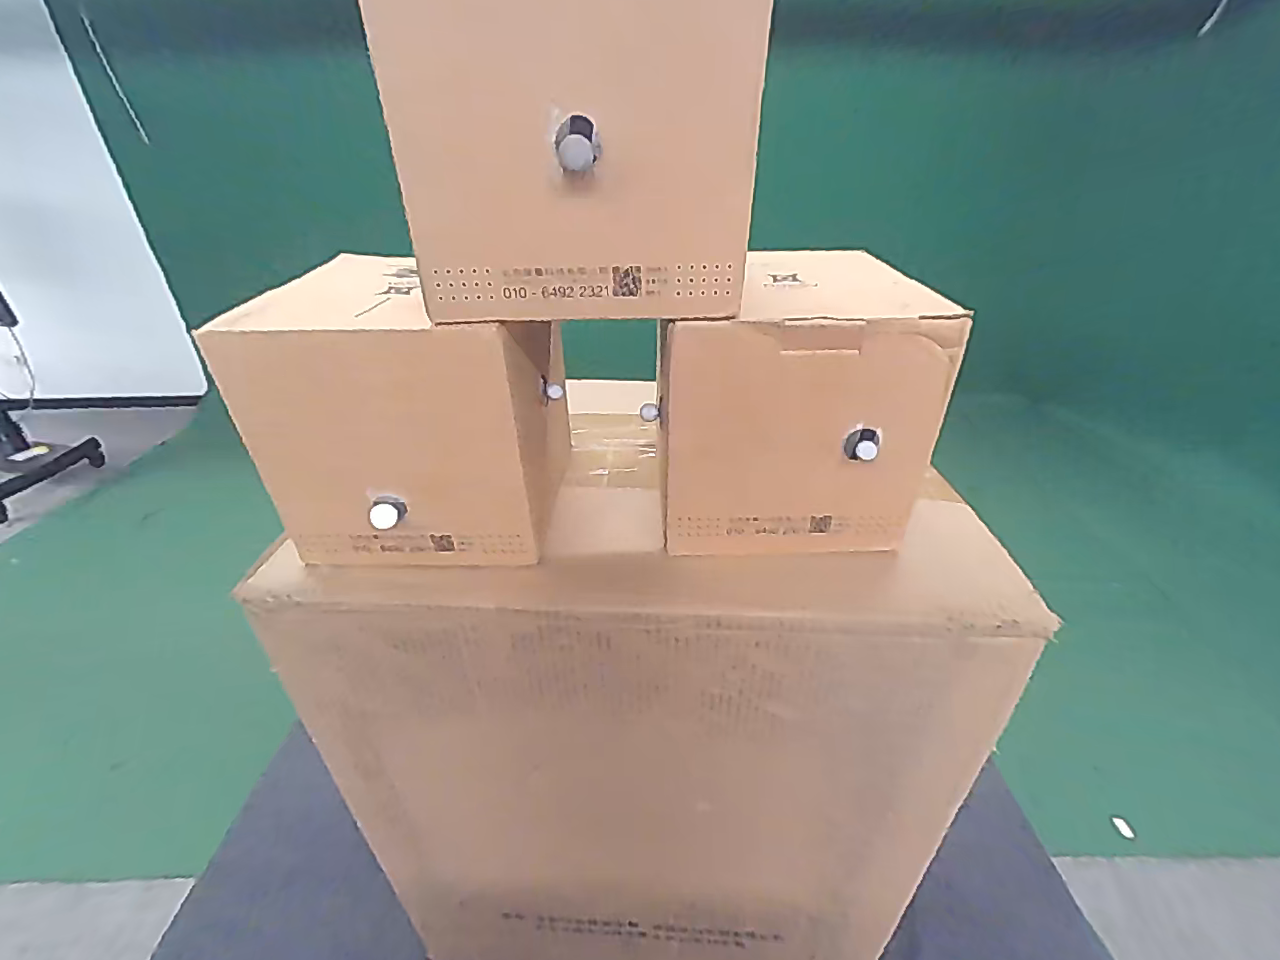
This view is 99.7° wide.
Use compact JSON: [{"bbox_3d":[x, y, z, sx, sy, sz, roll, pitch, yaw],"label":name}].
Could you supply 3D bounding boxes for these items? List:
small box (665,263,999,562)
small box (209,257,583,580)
[{"bbox_3d":[0.109,-0.054,0.398,0.168,0.176,0.179,0,33,-3],"label":"small box"},{"bbox_3d":[-0.136,-0.052,0.386,0.168,0.176,0.179,1,34,4],"label":"small box"}]
